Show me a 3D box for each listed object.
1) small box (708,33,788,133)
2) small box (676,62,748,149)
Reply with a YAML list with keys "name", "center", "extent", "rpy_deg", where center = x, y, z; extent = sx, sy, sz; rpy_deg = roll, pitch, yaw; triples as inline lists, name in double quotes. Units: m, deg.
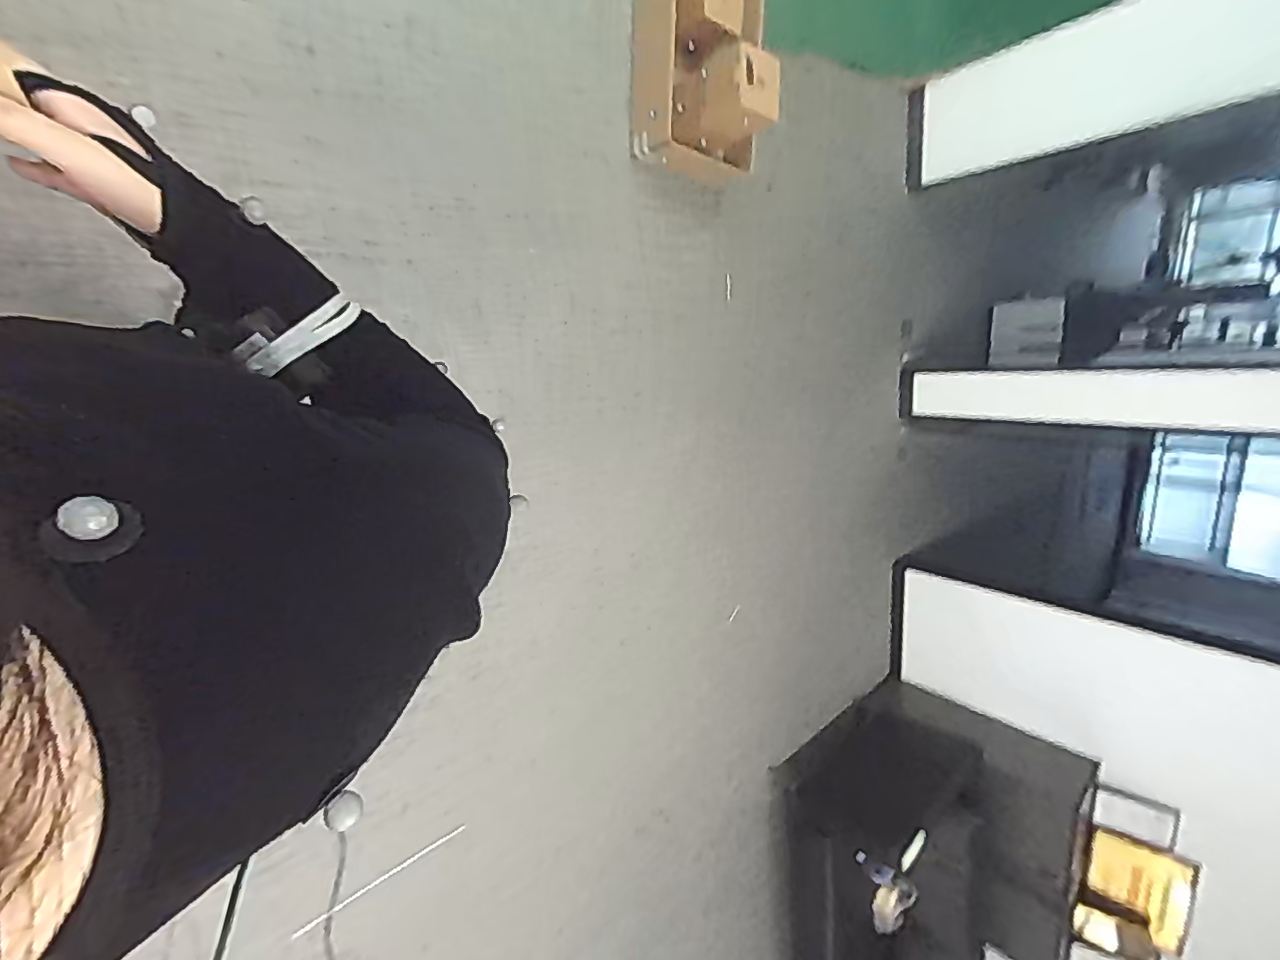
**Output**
- name: "small box"
  center: [0.317, -1.166, 1.606]
  extent: [0.179, 0.176, 0.168]
  rpy_deg: [-9, 103, -37]
- name: "small box"
  center: [0.229, -1.194, 1.742]
  extent: [0.179, 0.176, 0.168]
  rpy_deg: [-11, 105, -35]
